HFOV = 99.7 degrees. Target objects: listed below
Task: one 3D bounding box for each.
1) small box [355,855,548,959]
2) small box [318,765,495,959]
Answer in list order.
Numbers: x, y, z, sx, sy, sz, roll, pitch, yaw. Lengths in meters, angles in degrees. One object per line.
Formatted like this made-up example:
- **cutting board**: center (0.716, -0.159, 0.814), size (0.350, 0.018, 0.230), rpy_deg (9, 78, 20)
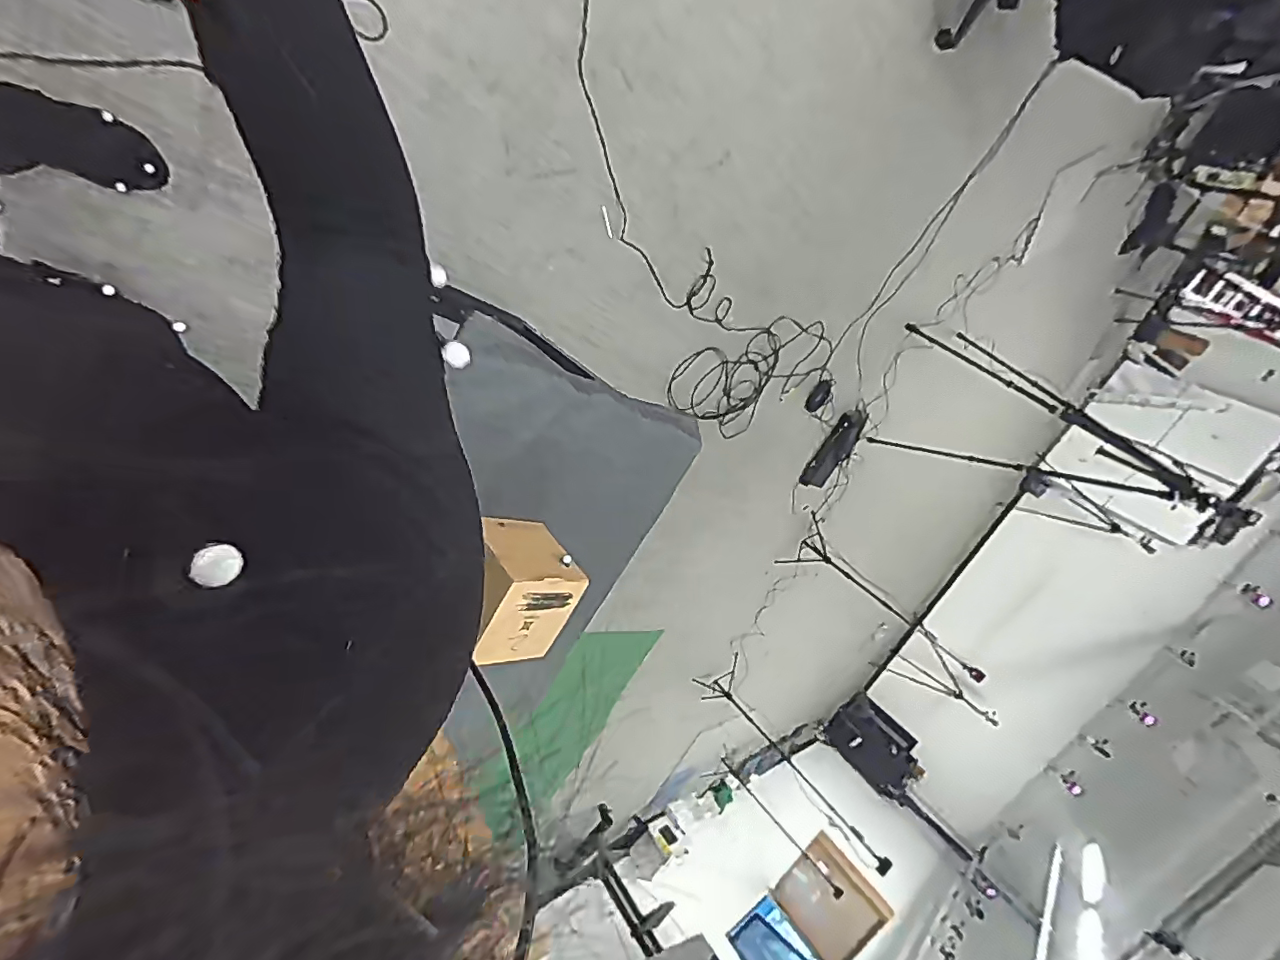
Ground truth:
- **small box**: center (-0.272, 0.676, 0.769), size (0.179, 0.176, 0.168), rpy_deg (-56, 144, 7)
- **small box**: center (-0.374, 0.588, 0.863), size (0.179, 0.176, 0.168), rpy_deg (22, 104, -52)
